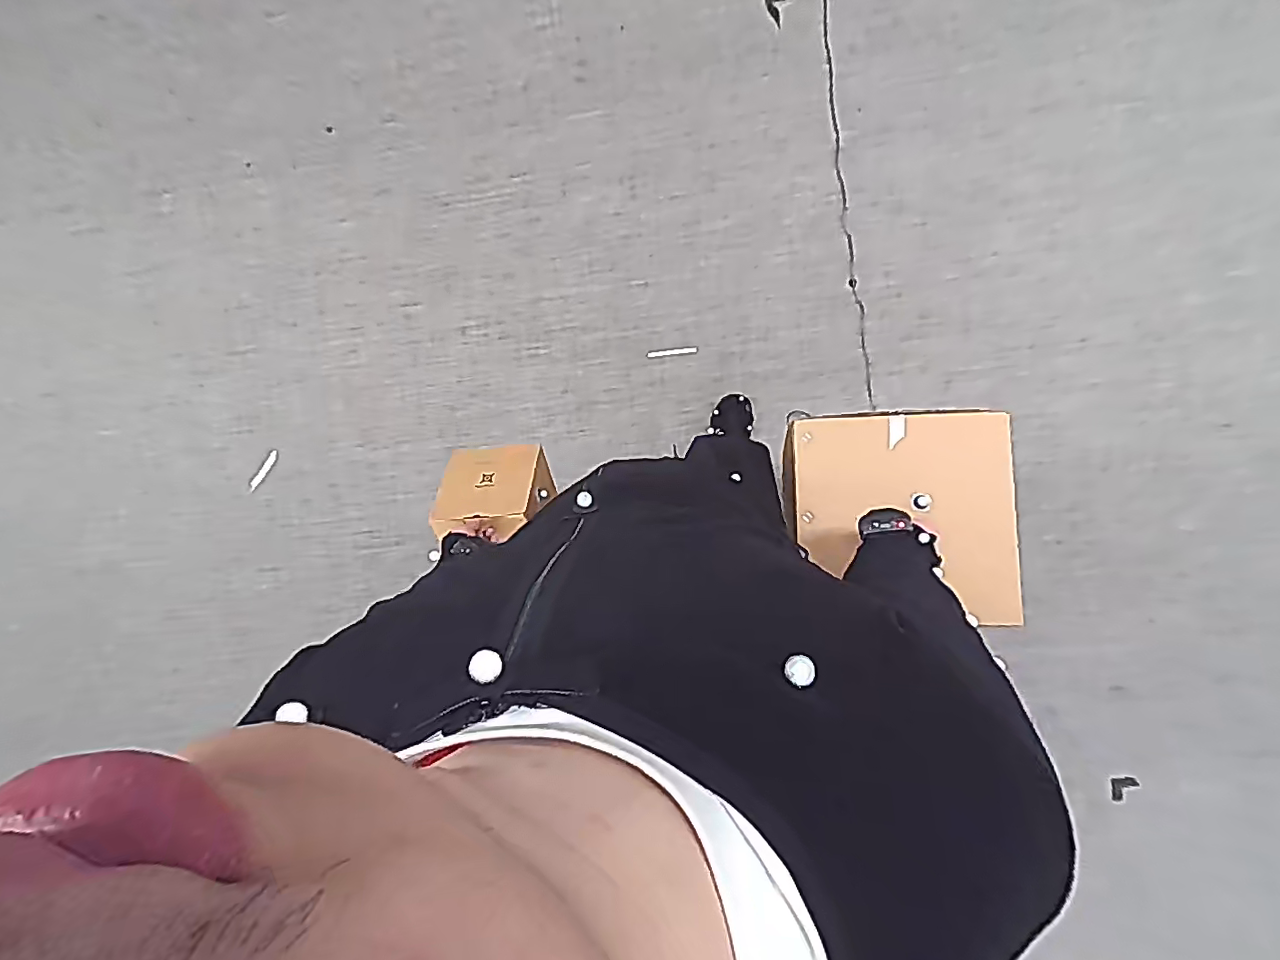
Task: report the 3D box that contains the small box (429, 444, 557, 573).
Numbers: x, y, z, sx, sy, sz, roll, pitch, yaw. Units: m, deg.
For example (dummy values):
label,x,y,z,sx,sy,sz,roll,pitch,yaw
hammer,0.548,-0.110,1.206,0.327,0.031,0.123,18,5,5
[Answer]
label,x,y,z,sx,sy,sz,roll,pitch,yaw
small box,-0.256,0.058,0.989,0.168,0.179,0.176,-4,135,4
